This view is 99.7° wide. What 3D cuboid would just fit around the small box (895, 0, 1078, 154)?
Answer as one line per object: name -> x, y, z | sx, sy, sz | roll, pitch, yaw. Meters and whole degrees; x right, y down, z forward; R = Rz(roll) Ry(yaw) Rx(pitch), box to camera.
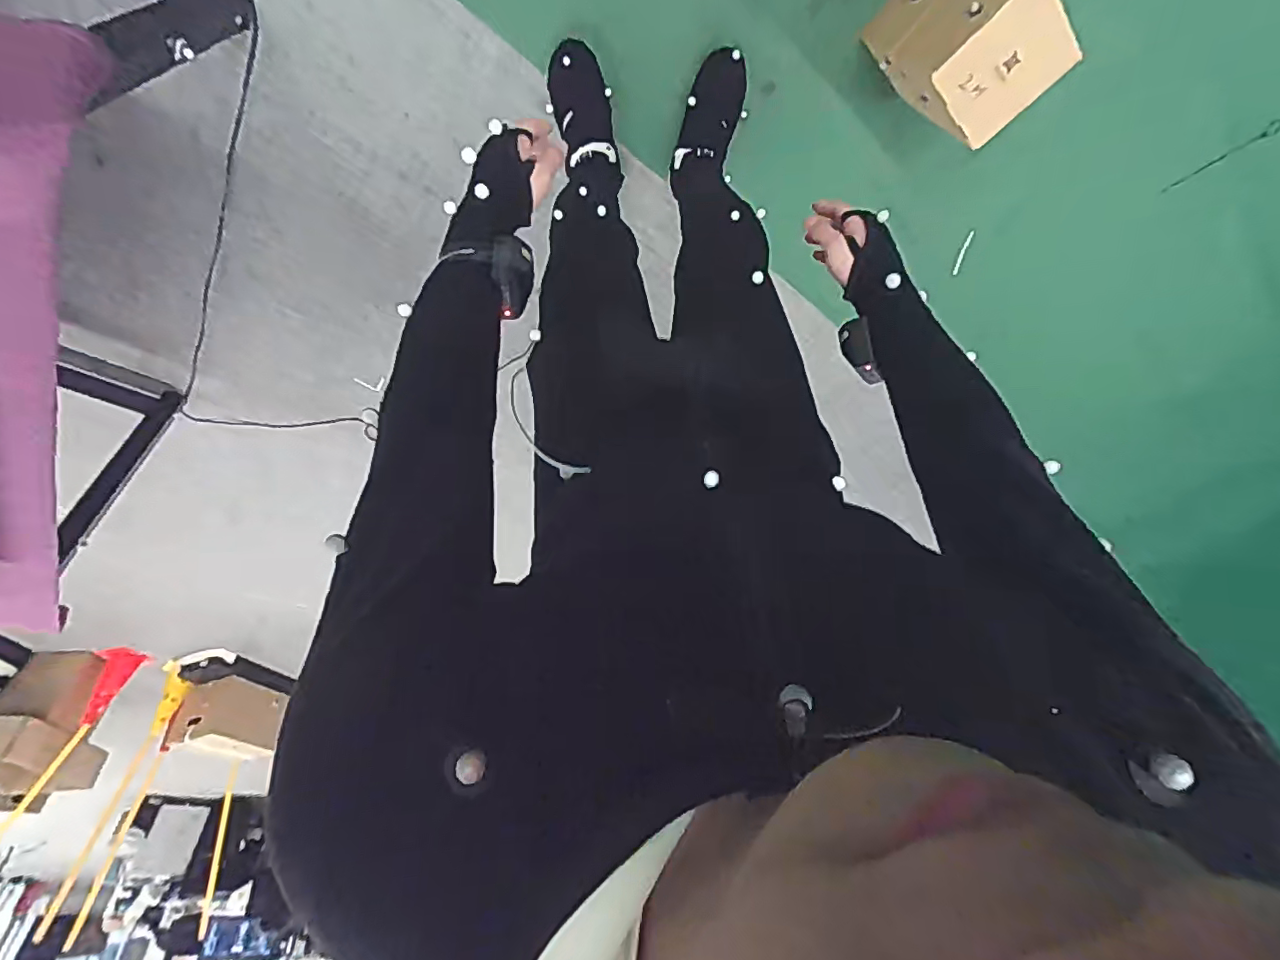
small box -> 0.567, -0.704, 0.904 | 0.168, 0.176, 0.179 | 28, 130, -32
